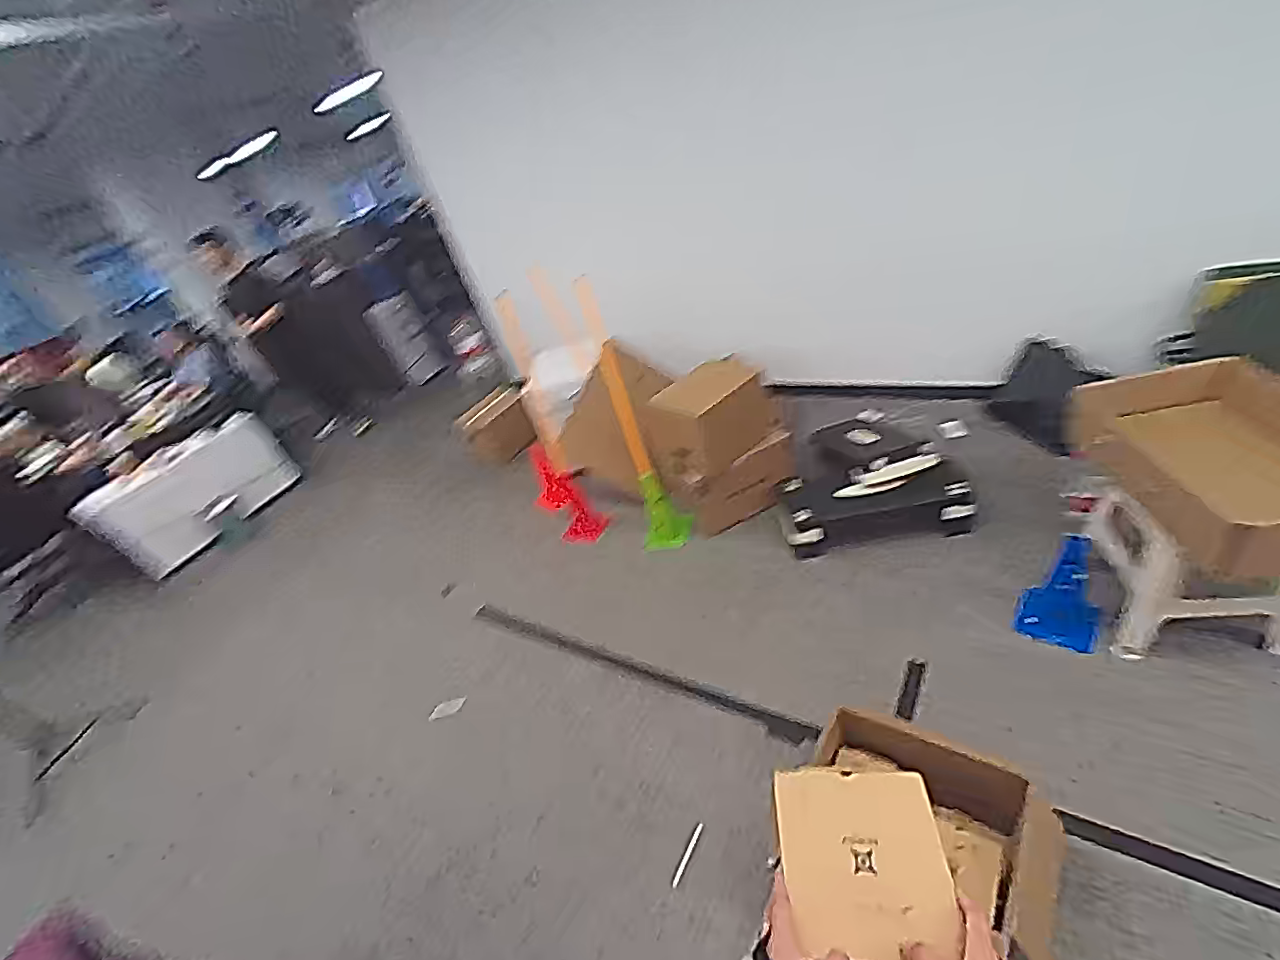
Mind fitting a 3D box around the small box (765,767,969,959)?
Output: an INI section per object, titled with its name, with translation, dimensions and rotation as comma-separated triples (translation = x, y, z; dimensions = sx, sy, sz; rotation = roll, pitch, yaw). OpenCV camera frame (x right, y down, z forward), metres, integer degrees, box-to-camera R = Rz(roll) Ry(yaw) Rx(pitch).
[small box]
translation = 0.232, 0.455, 0.609
dimensions = 0.168, 0.176, 0.179
rotation = -2, 36, 8
